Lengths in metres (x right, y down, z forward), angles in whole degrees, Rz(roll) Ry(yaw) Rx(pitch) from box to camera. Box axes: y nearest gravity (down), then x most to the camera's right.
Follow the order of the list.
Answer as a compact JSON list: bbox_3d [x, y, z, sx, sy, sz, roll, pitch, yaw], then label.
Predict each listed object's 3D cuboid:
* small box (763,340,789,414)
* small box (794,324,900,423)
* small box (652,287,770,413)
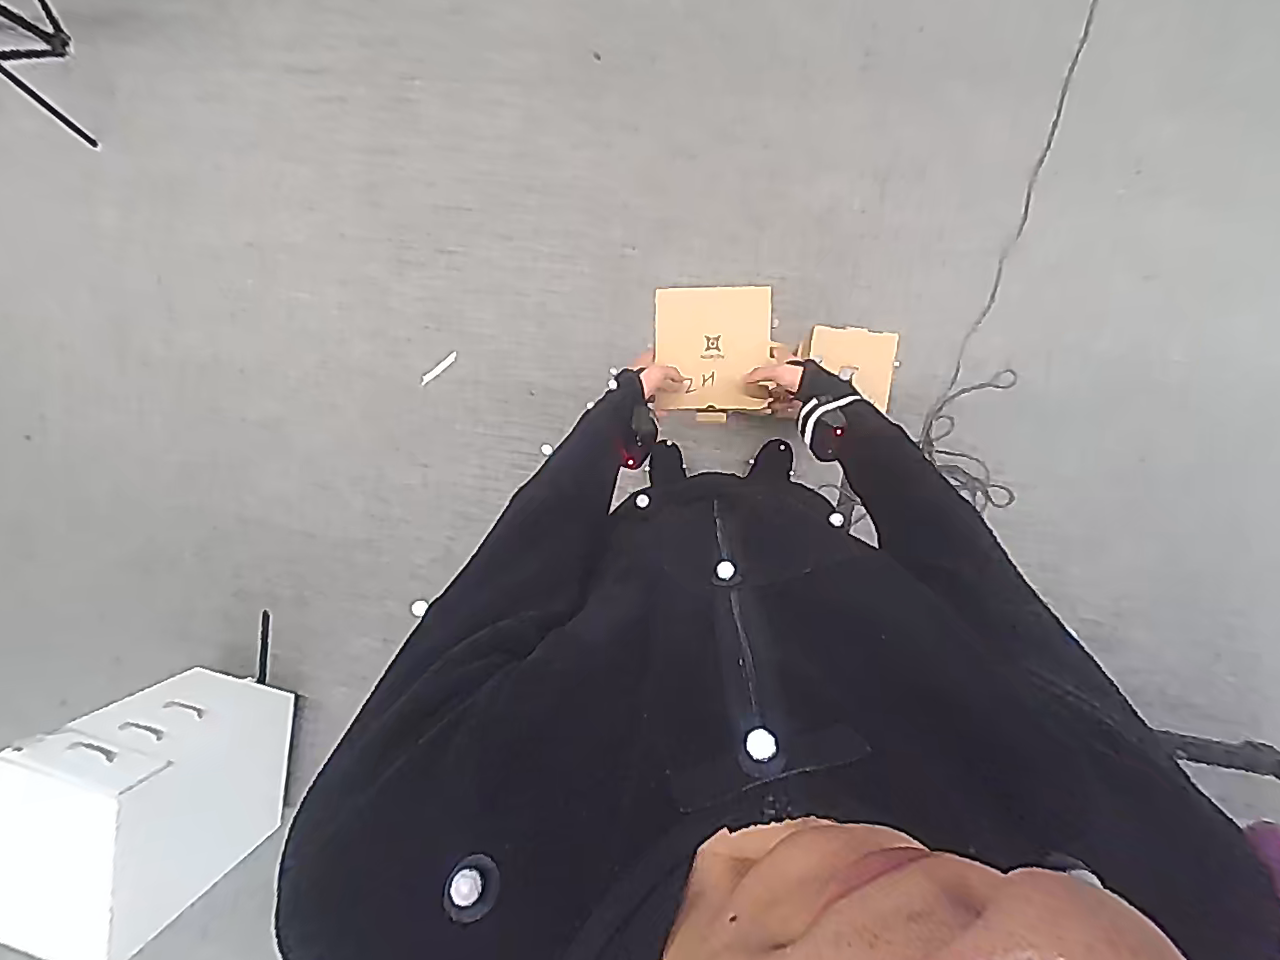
[{"bbox_3d":[0.257,-0.263,1.343,0.179,0.176,0.168,14,97,9],"label":"small box"},{"bbox_3d":[0.430,-0.219,1.149,0.168,0.176,0.179,9,96,10],"label":"small box"},{"bbox_3d":[0.107,-0.195,0.851,0.168,0.176,0.179,1,99,6],"label":"small box"}]
